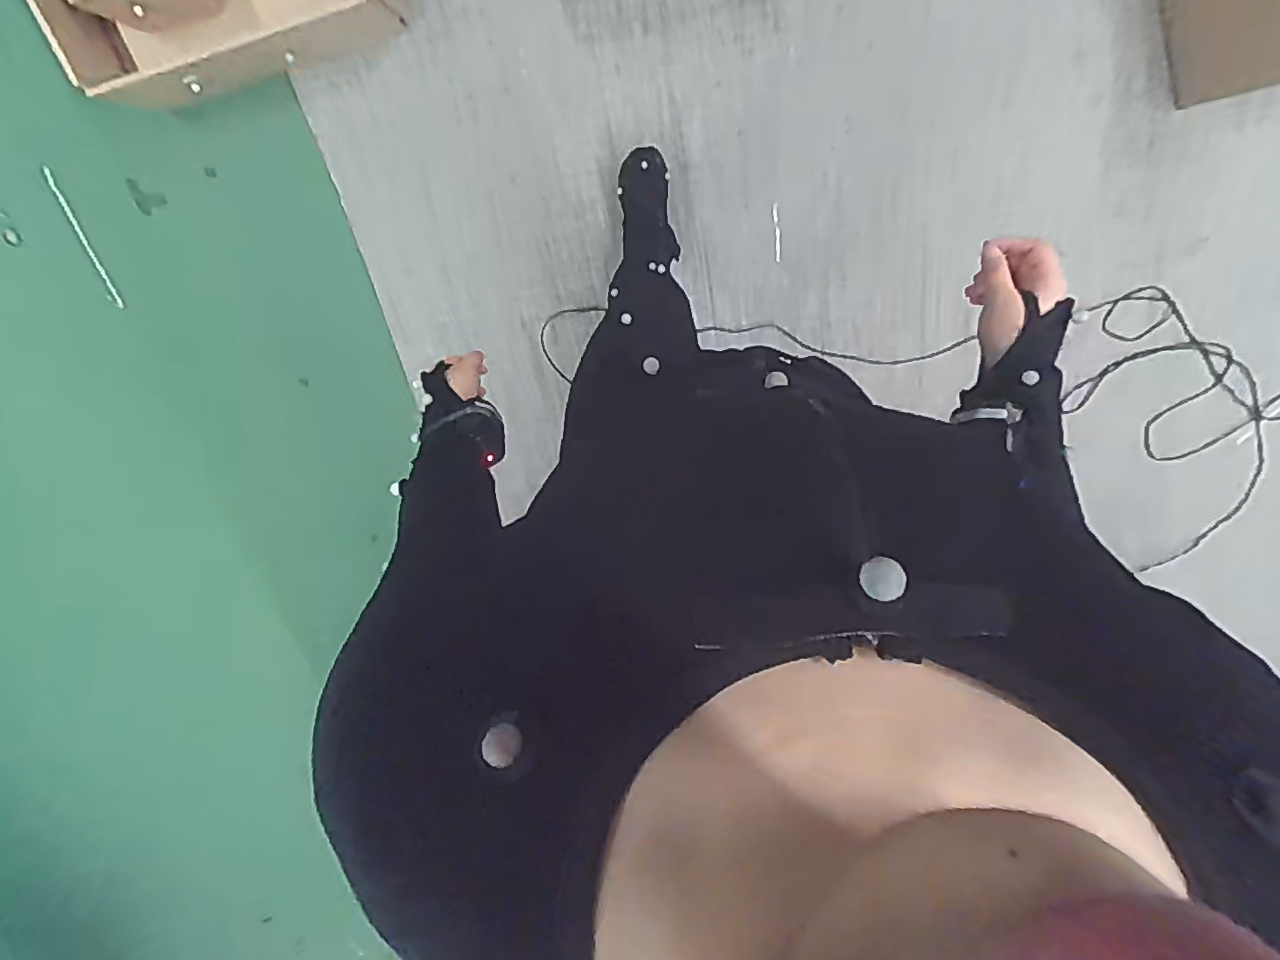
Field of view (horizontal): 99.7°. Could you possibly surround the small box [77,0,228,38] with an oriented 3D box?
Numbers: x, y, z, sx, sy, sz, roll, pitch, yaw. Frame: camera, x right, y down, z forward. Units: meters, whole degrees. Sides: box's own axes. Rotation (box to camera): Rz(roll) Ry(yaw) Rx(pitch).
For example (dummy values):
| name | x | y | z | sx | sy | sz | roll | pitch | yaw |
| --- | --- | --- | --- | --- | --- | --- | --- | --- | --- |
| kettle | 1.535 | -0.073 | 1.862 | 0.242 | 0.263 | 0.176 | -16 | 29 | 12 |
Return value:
| name | x | y | z | sx | sy | sz | roll | pitch | yaw |
| --- | --- | --- | --- | --- | --- | --- | --- | --- | --- |
| small box | -0.928 | -0.961 | 0.999 | 0.179 | 0.176 | 0.168 | -11 | 112 | 6 |
